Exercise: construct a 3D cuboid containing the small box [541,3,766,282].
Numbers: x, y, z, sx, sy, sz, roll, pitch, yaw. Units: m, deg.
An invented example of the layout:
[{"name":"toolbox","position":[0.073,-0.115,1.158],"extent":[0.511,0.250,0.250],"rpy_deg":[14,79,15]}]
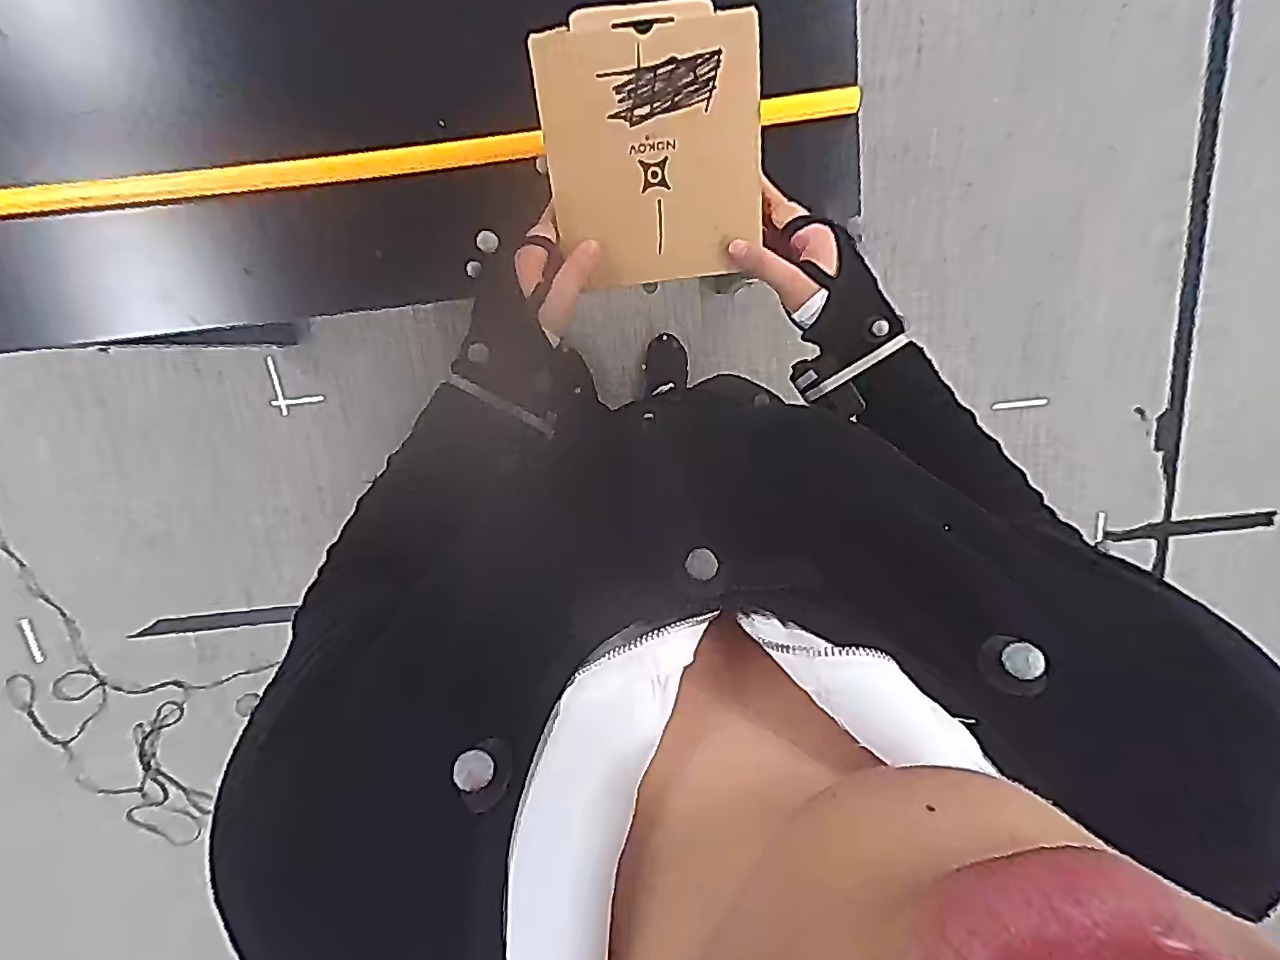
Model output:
[{"name":"small box","position":[0.012,-0.284,0.491],"extent":[0.168,0.176,0.179],"rpy_deg":[-7,114,0]}]
